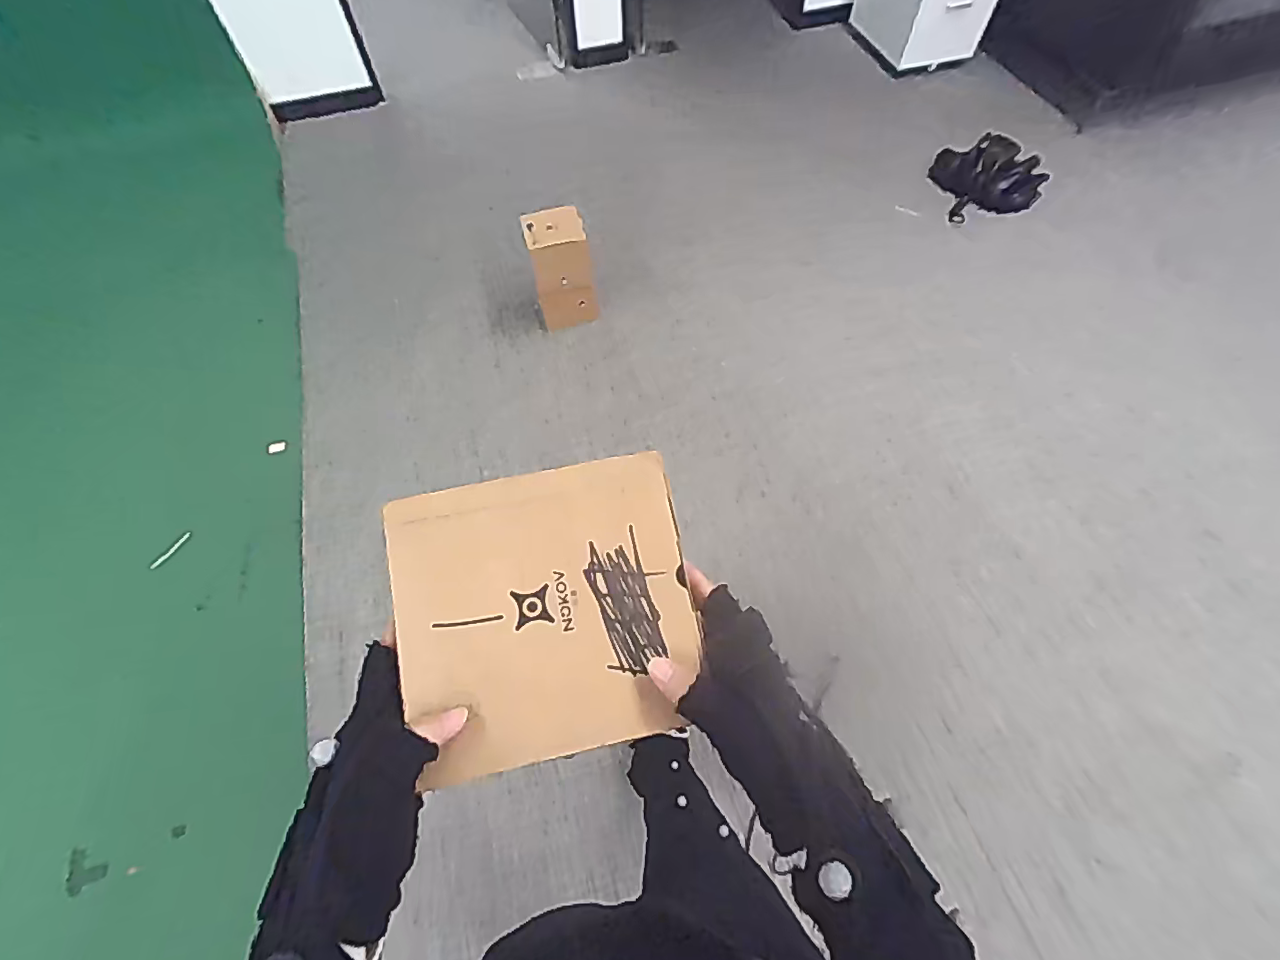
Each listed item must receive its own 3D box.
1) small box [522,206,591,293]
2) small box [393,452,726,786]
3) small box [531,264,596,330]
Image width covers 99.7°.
[{"bbox_3d":[-0.252,-0.708,1.669,0.179,0.176,0.168,-13,62,-7],"label":"small box"},{"bbox_3d":[-0.058,0.094,0.406,0.179,0.176,0.168,-14,77,-8],"label":"small box"},{"bbox_3d":[-0.250,-0.635,1.816,0.179,0.176,0.168,-18,62,-7],"label":"small box"}]
